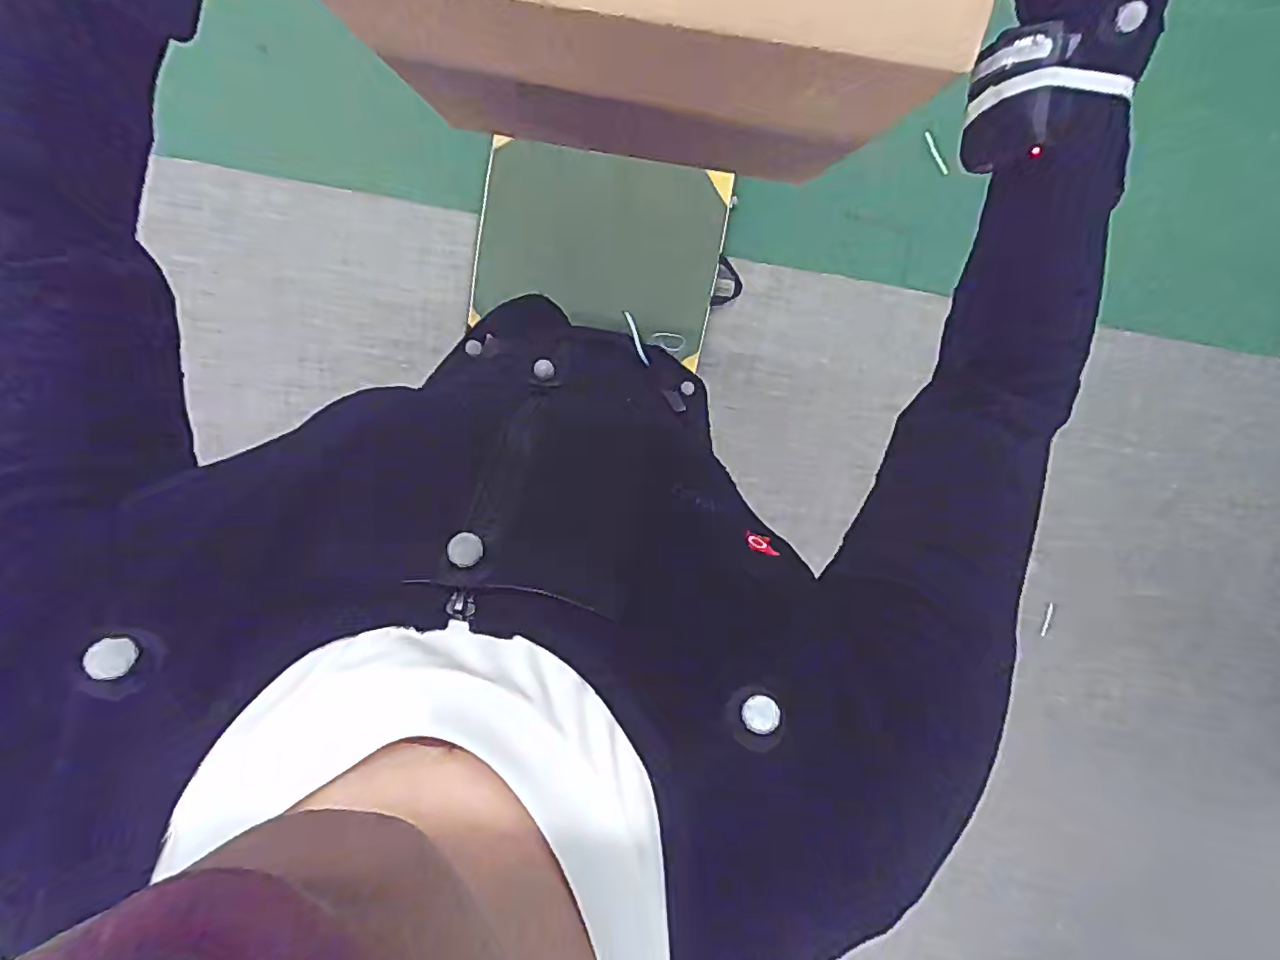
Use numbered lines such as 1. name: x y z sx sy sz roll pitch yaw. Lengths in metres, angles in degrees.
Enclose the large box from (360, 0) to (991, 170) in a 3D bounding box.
1. large box: 0.021 -0.467 0.413 0.408 0.320 0.320 6 109 -4
